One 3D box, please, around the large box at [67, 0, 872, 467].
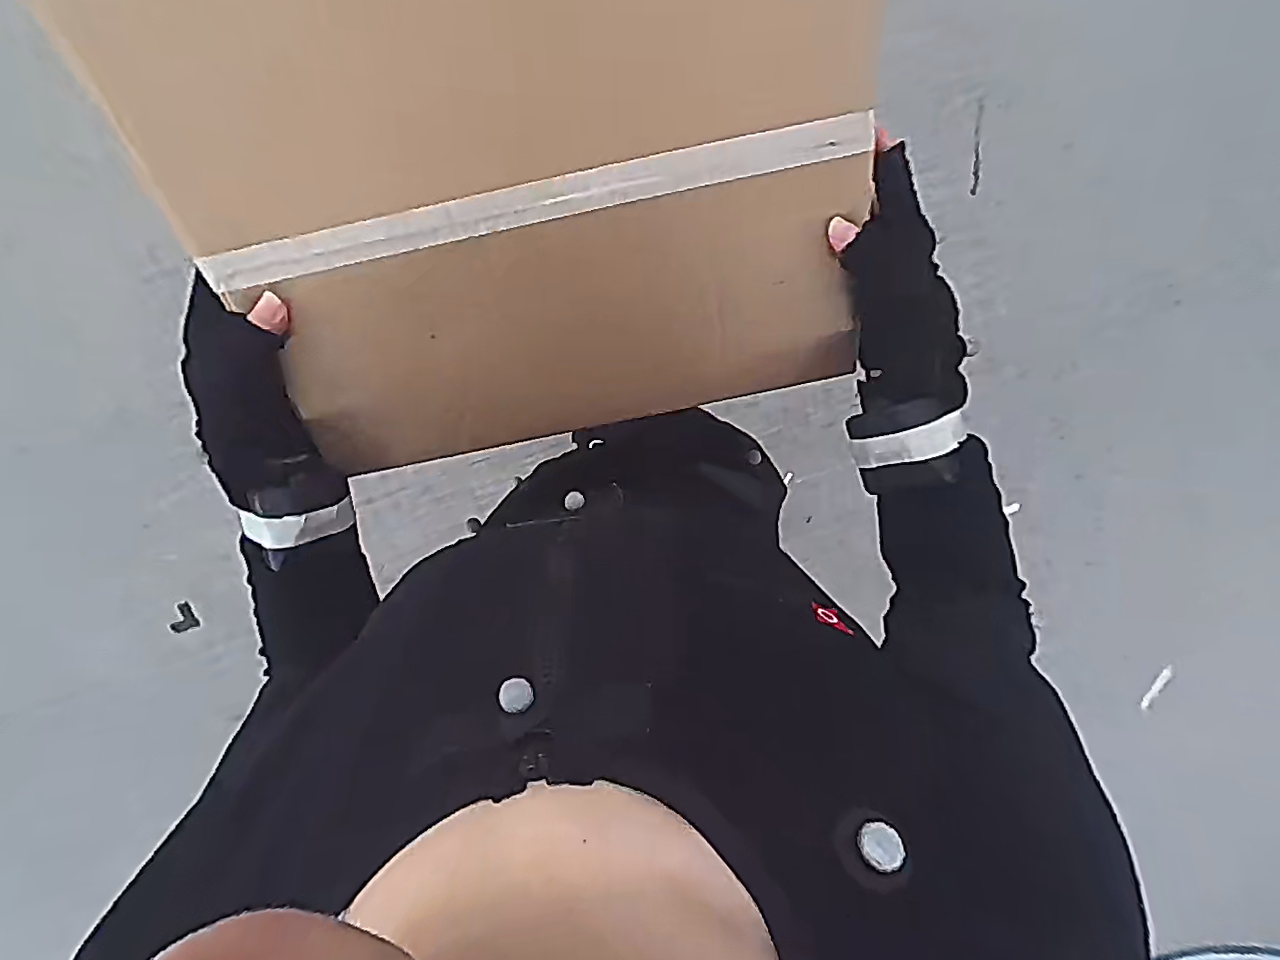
[{"bbox_3d":[-0.076,-0.256,0.451,0.408,0.320,0.320,-12,127,1],"label":"large box"}]
